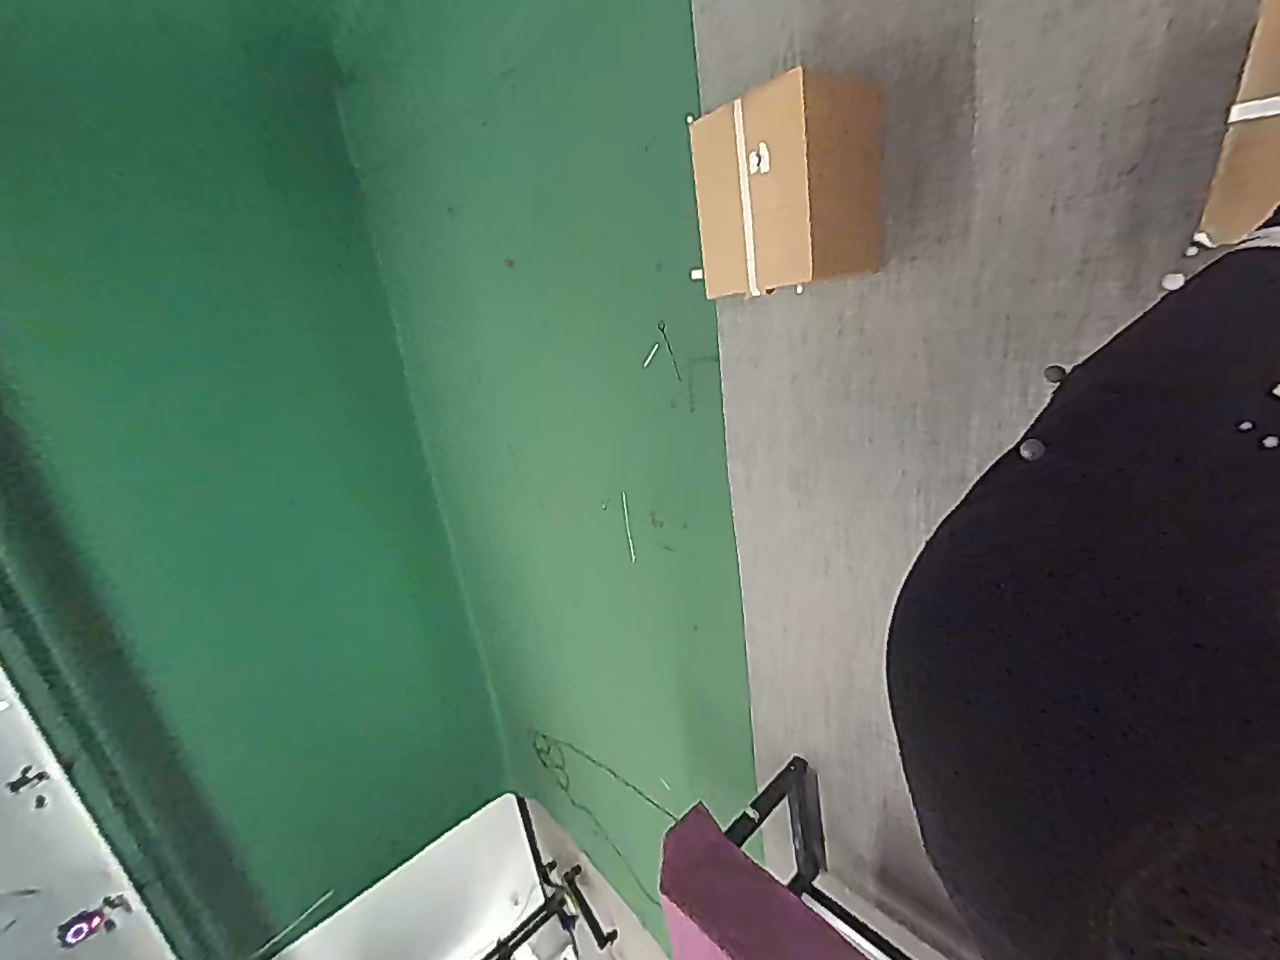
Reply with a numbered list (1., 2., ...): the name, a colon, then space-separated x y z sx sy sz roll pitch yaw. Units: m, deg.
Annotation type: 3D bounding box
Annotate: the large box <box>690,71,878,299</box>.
1. large box: 0.355 -0.677 1.314 0.320 0.320 0.408 12 115 48
